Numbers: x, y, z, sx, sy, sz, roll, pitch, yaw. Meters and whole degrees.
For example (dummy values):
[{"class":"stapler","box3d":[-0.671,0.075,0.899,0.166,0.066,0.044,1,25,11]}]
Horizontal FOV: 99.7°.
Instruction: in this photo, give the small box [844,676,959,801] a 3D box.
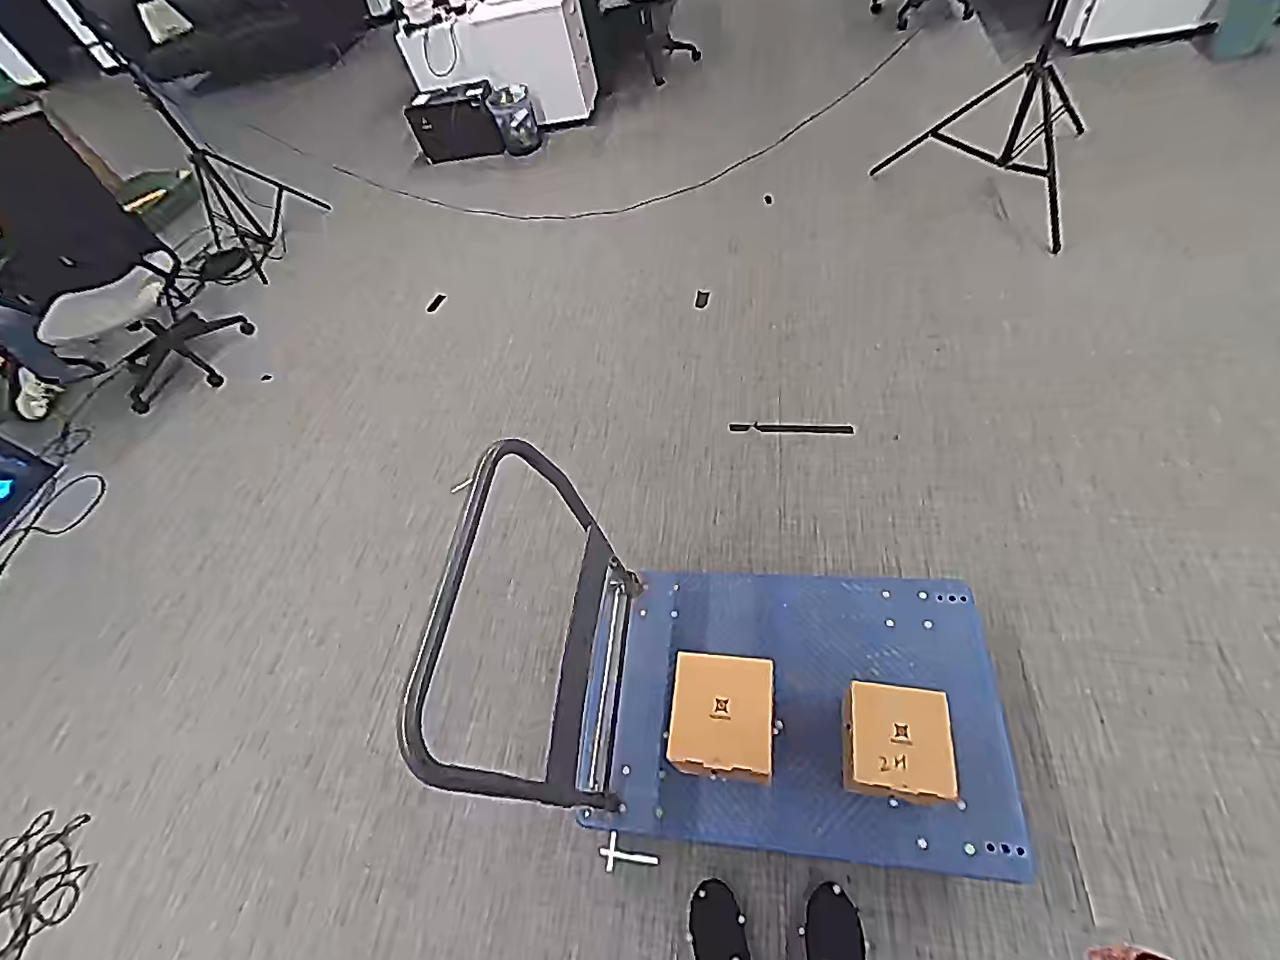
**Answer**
[{"class":"small box","box3d":[0.486,0.495,1.032,0.168,0.176,0.179,3,57,15]}]

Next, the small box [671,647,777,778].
[{"class":"small box","box3d":[0.155,0.415,0.962,0.168,0.176,0.179,1,58,13]}]
